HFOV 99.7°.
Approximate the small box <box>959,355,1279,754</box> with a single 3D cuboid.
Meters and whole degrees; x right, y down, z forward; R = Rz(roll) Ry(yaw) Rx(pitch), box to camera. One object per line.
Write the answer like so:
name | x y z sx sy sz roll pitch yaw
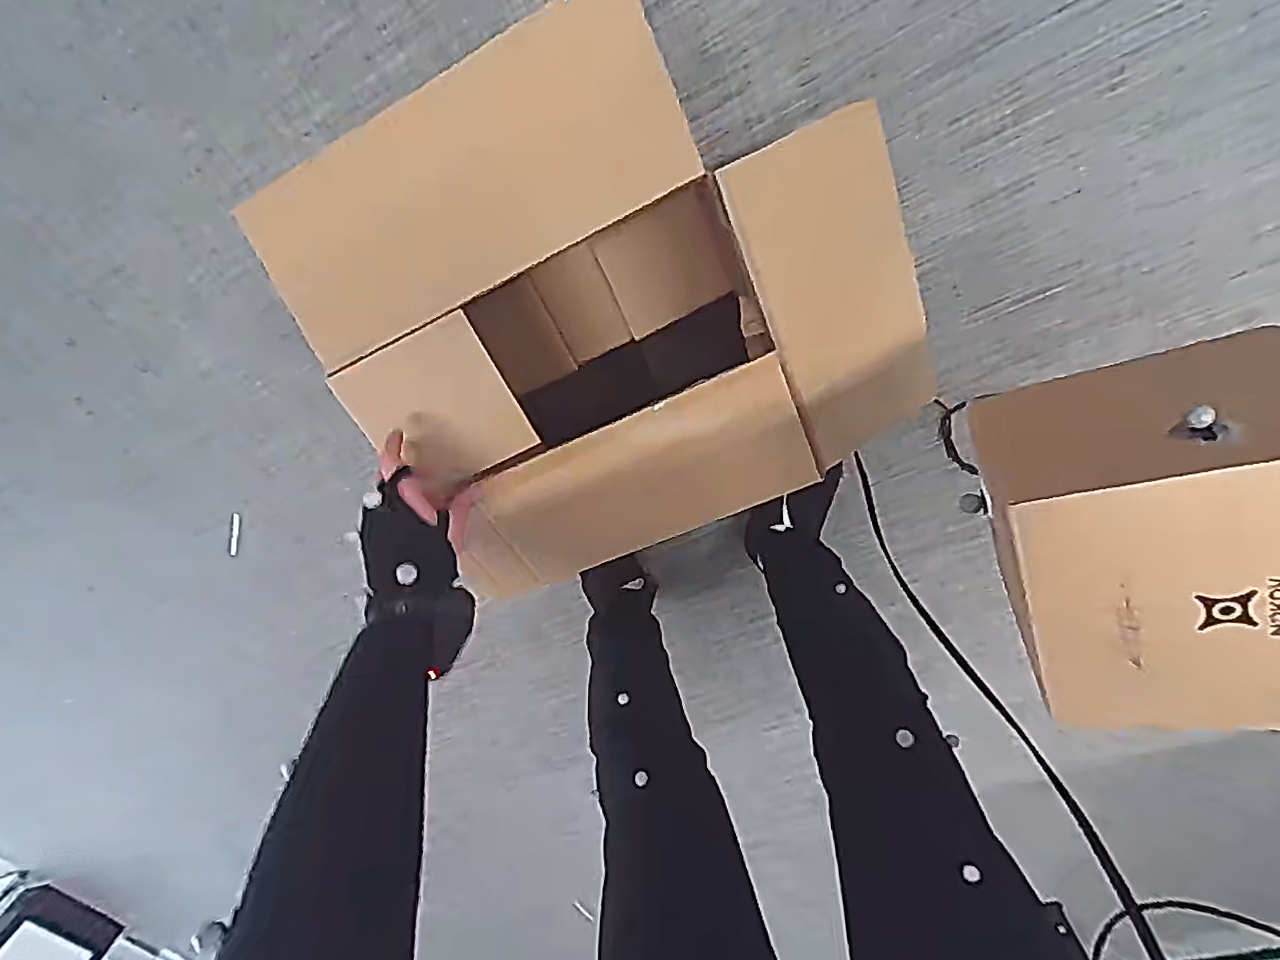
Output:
small box | 0.317 0.037 0.331 0.179 0.176 0.168 -12 110 28
